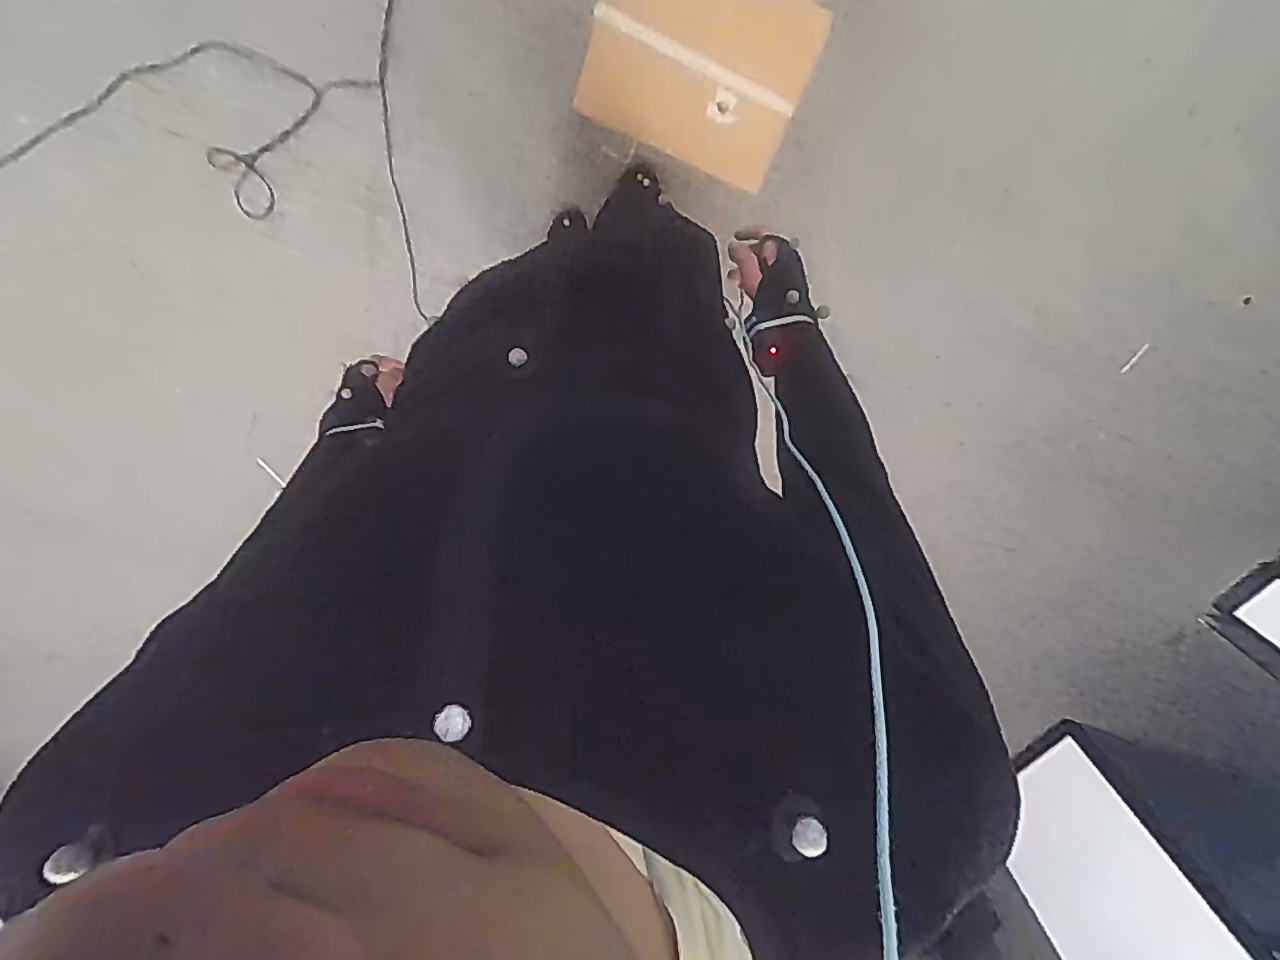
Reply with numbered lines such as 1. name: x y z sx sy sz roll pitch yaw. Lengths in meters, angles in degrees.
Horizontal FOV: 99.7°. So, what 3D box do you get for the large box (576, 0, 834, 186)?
1. large box: 0.100 -0.859 1.119 0.408 0.320 0.320 16 121 -17
